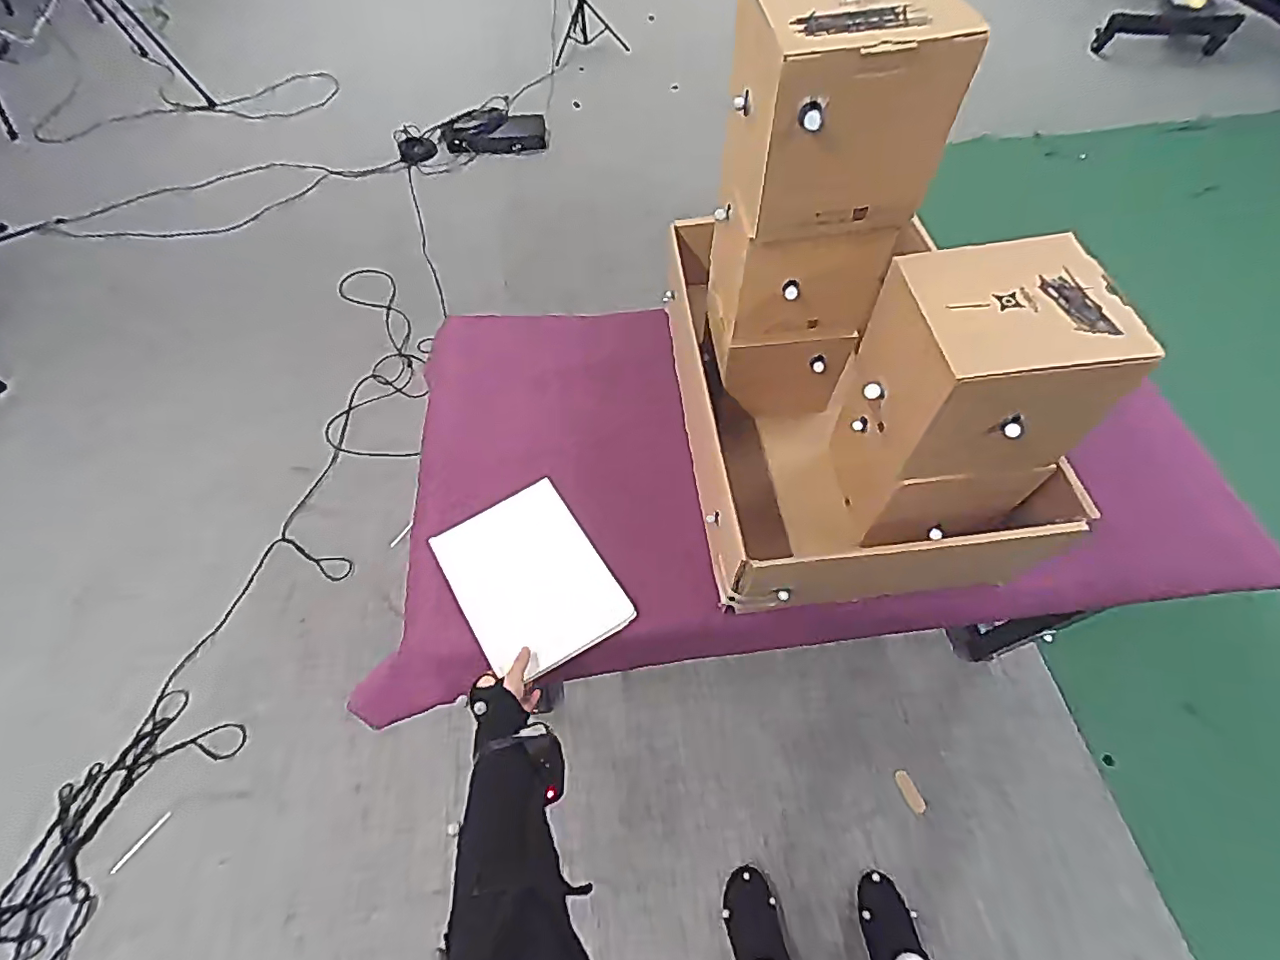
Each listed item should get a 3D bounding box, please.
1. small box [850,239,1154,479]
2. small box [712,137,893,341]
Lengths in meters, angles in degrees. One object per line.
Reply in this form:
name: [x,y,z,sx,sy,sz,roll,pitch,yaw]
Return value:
small box: [0.343,-0.117,0.559,0.179,0.176,0.168,-6,57,2]
small box: [0.187,-0.292,0.682,0.168,0.176,0.179,-5,60,0]
